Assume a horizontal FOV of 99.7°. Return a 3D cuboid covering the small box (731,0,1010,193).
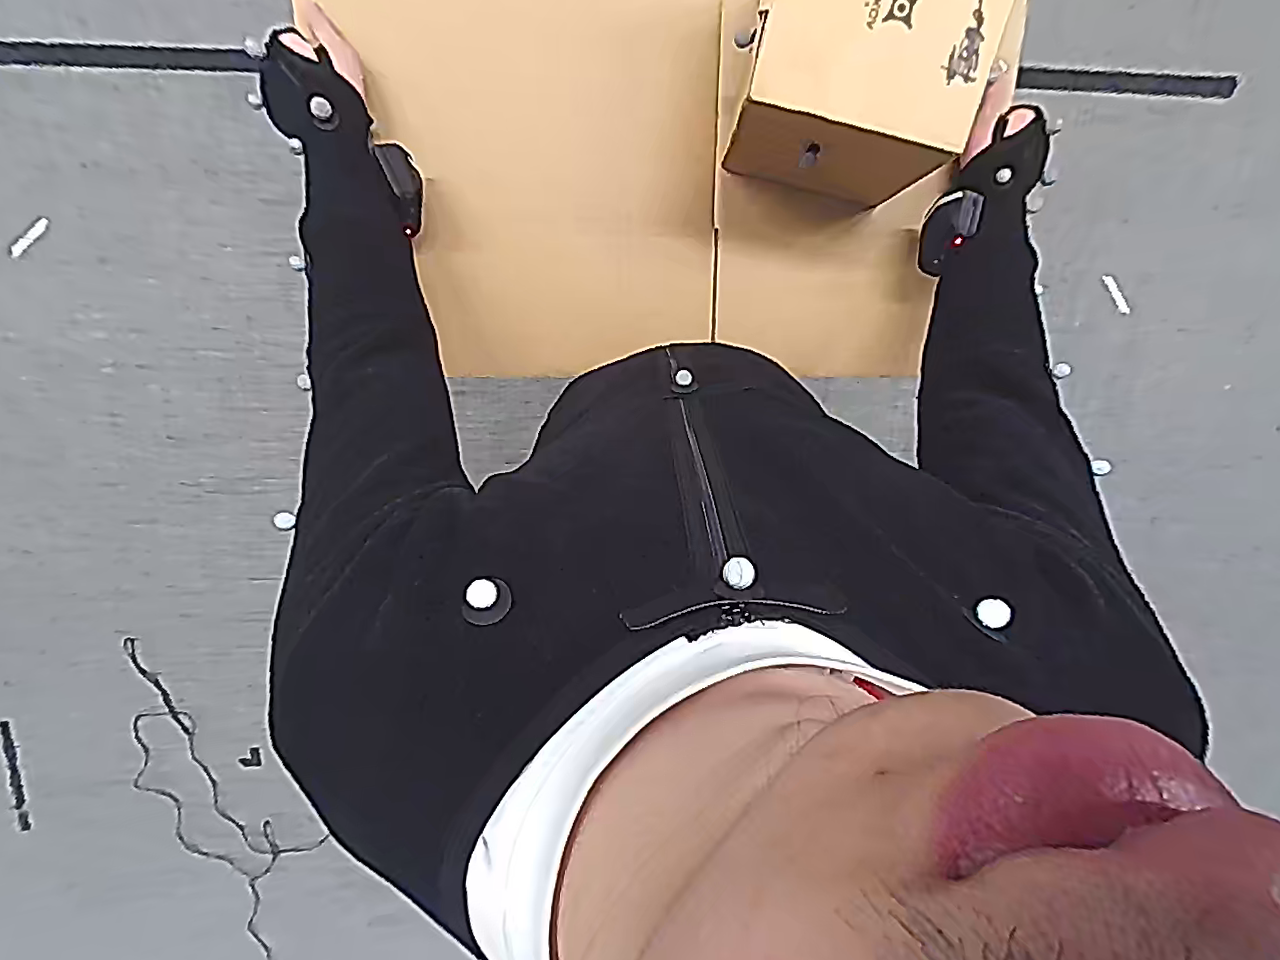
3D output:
[{"bbox_3d":[0.189,-0.377,0.478,0.179,0.176,0.168,14,104,-1],"label":"small box"}]
